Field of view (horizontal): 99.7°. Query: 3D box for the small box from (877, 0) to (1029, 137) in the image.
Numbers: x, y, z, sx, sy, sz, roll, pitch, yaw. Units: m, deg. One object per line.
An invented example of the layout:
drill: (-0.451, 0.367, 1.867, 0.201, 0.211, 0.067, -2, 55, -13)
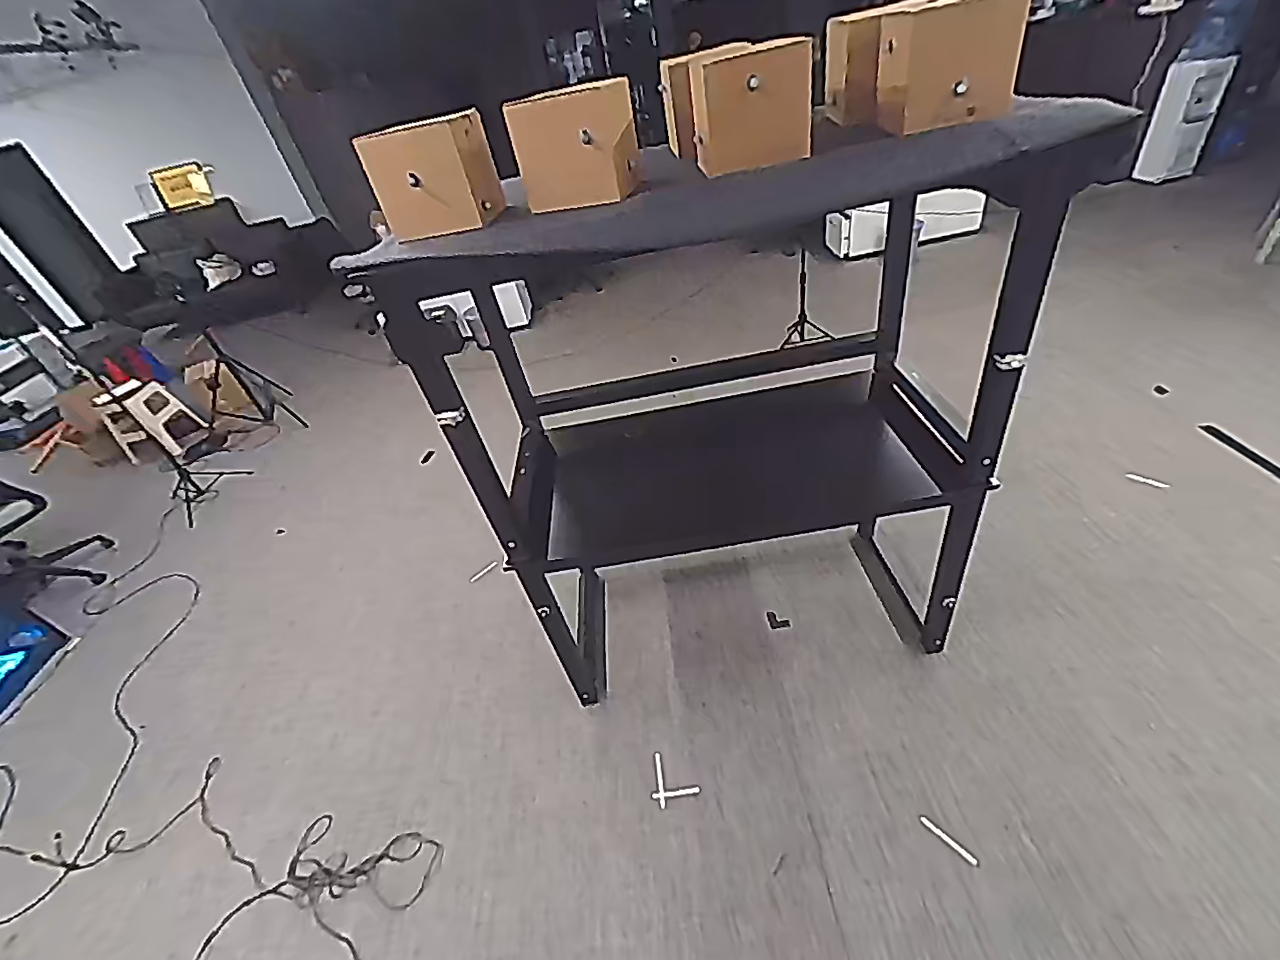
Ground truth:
small box: (0.511, -0.699, 0.914, 0.168, 0.176, 0.179, -6, 39, 10)

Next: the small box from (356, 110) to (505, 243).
small box: (-0.370, -0.558, 0.998, 0.179, 0.176, 0.168, -6, 38, 9)

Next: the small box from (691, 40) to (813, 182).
small box: (0.193, -0.646, 0.948, 0.179, 0.176, 0.168, -11, 39, 4)

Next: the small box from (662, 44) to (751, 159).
small box: (0.143, -0.798, 1.144, 0.168, 0.176, 0.179, -11, 39, 5)
